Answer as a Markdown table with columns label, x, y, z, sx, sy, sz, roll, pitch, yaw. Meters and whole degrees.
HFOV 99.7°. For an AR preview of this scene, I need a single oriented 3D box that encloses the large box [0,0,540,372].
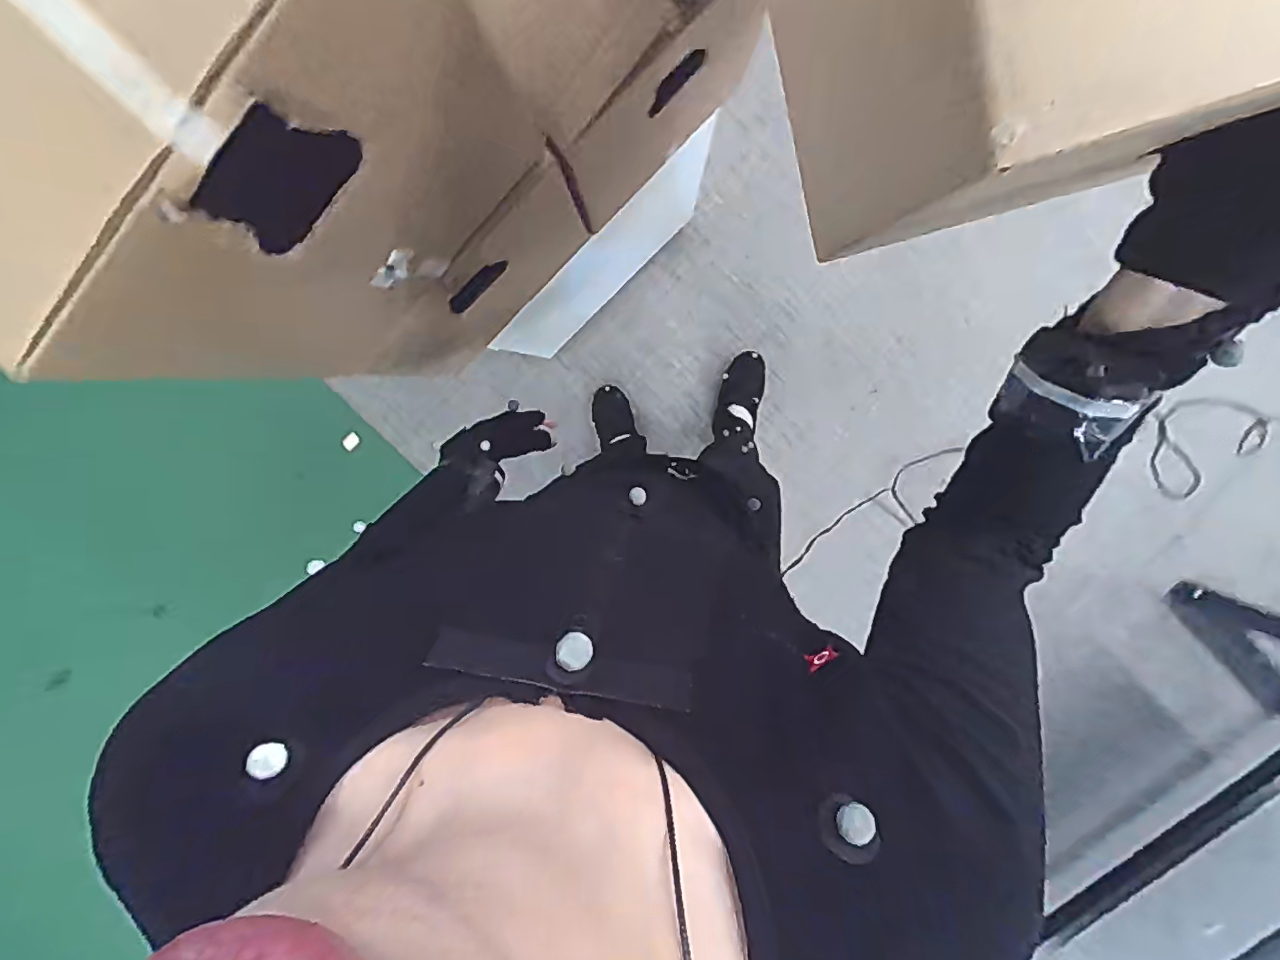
| label | x | y | z | sx | sy | sz | roll | pitch | yaw |
| --- | --- | --- | --- | --- | --- | --- | --- | --- | --- |
| large box | -0.344 | -0.323 | 0.382 | 0.408 | 0.320 | 0.320 | 44 | 98 | -5 |
